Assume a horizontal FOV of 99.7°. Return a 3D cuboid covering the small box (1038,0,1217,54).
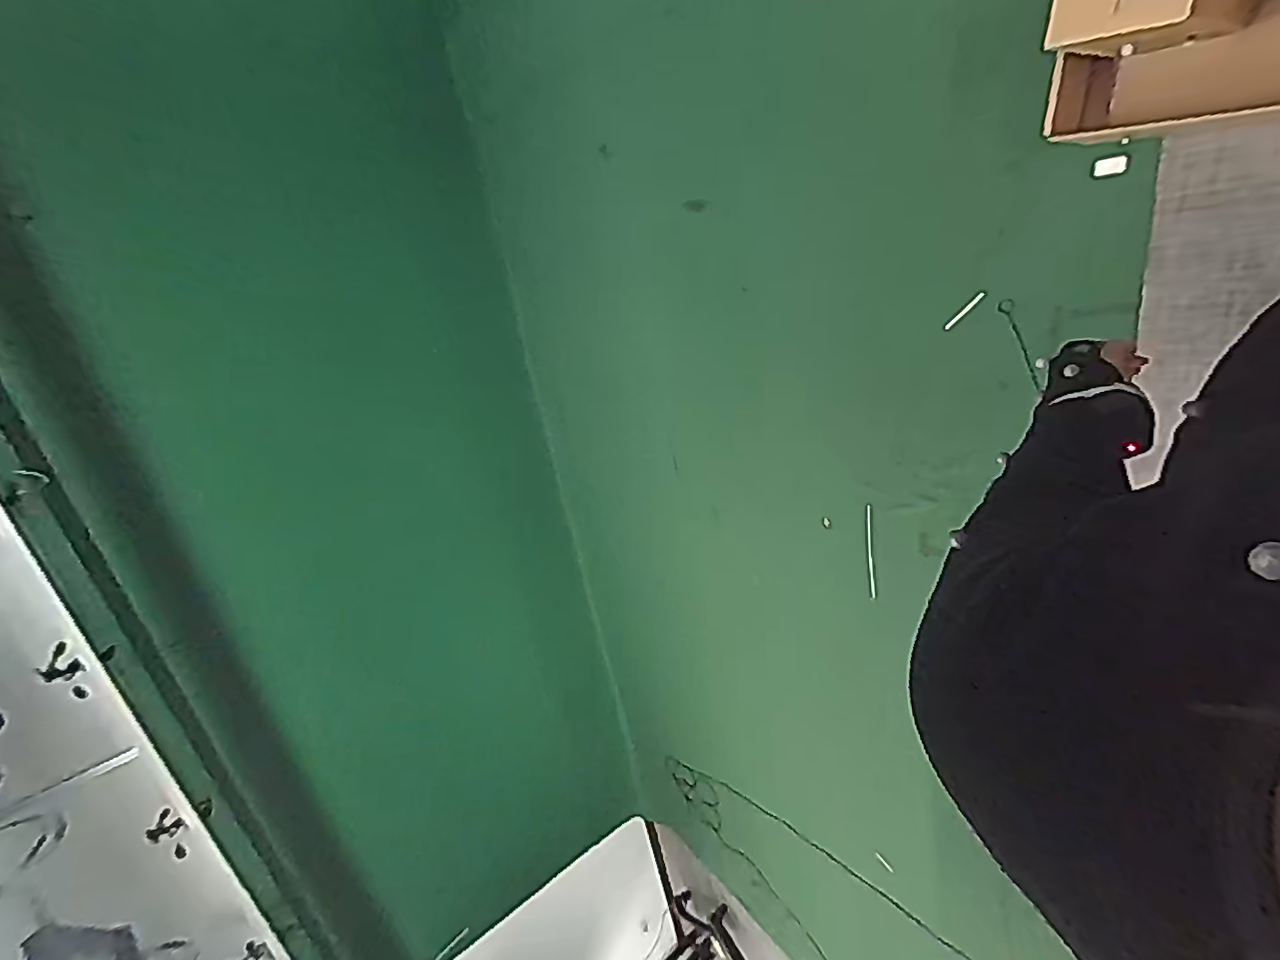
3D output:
[{"bbox_3d":[0.707,-0.726,0.761,0.168,0.176,0.179,28,135,45],"label":"small box"}]
